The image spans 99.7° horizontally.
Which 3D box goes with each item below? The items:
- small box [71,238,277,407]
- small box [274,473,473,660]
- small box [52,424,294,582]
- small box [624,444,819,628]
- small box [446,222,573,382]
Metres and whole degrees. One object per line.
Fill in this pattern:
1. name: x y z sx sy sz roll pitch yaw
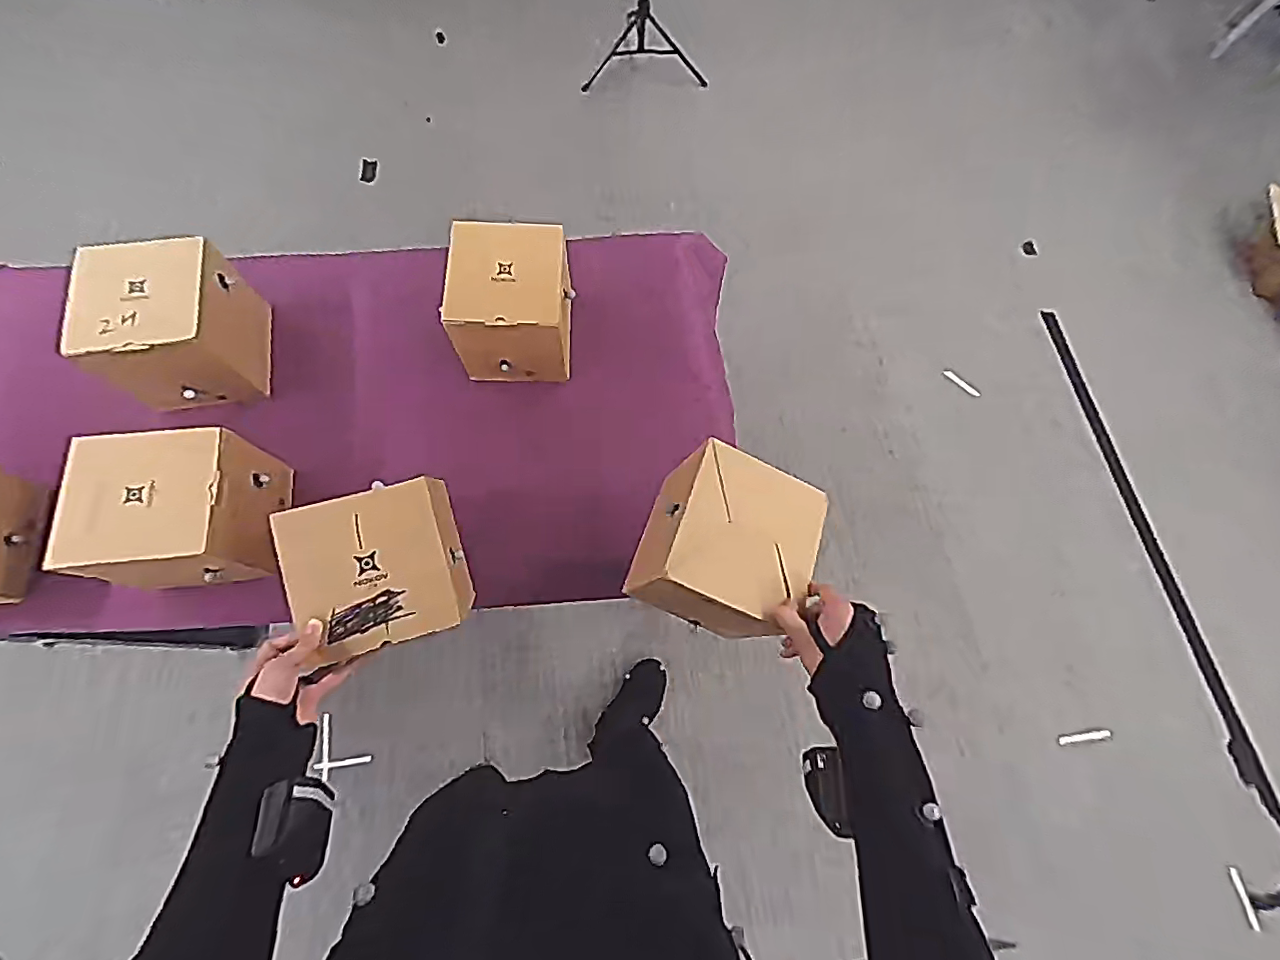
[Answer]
1. small box: -0.680 -0.231 0.814 0.168 0.176 0.179 -9 72 -6
2. small box: -0.316 0.097 0.681 0.168 0.176 0.179 -15 90 -14
3. small box: -0.598 0.037 0.724 0.179 0.176 0.168 -5 71 -6
4. small box: 0.100 0.072 0.676 0.168 0.176 0.179 24 67 -8
5. small box: -0.196 -0.276 0.861 0.168 0.176 0.179 1 72 -3
